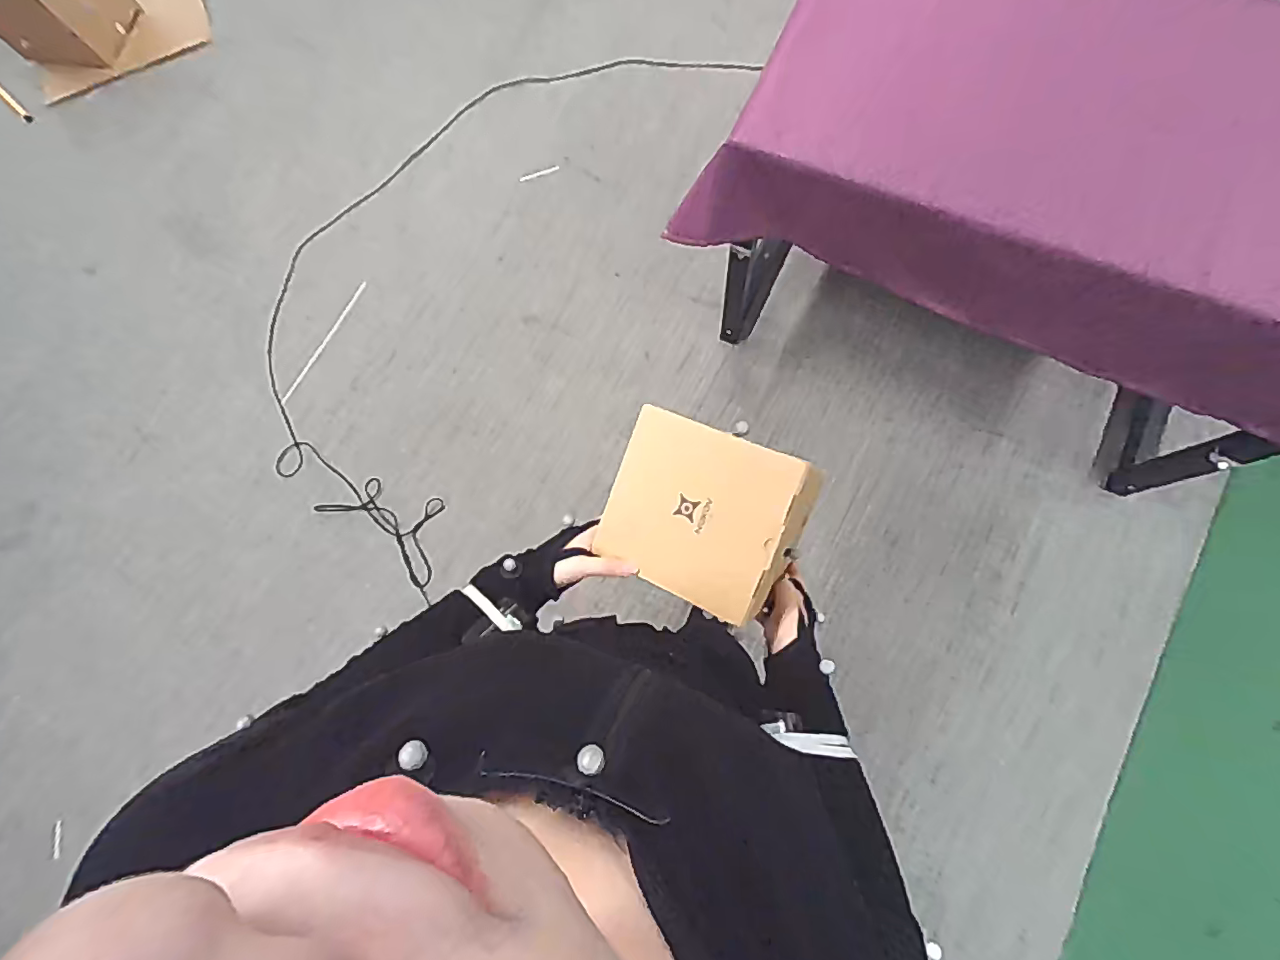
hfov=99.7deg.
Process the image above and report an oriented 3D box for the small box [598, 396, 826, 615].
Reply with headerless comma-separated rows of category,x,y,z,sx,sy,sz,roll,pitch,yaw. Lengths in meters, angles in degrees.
small box,0.088,0.024,0.598,0.179,0.176,0.168,24,98,21
